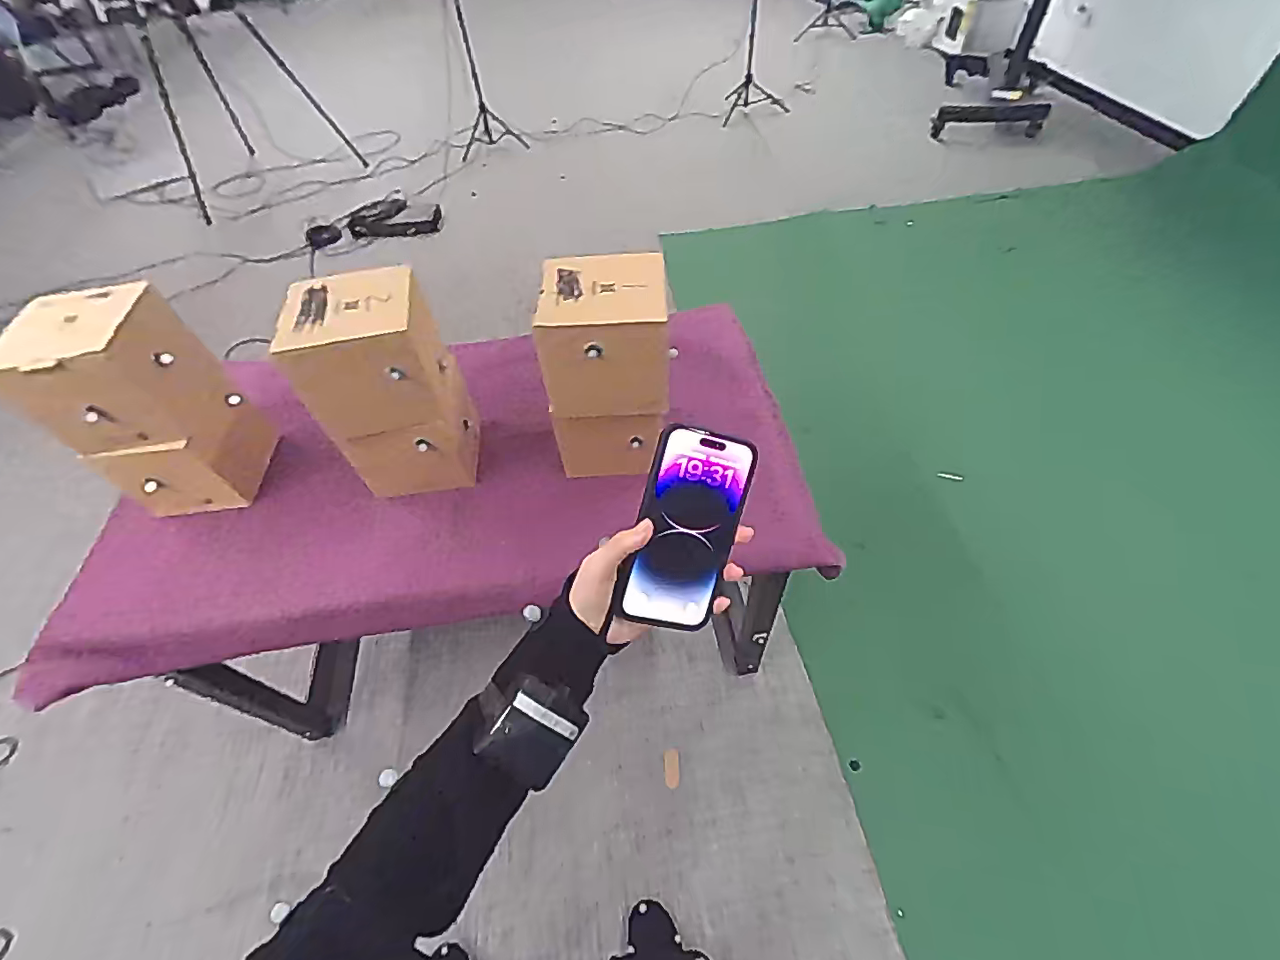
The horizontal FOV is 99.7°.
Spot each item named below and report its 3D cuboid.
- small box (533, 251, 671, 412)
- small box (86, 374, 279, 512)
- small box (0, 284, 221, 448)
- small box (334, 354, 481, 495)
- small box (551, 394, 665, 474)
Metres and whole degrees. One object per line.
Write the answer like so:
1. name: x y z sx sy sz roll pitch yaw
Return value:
1. small box: -0.046 -0.214 0.799 0.179 0.176 0.168 -3 52 2
2. small box: -0.775 -0.057 0.944 0.168 0.176 0.179 -7 52 -1
3. small box: -0.786 -0.164 0.819 0.168 0.176 0.179 -11 53 -5
4. small box: -0.385 -0.092 0.937 0.179 0.176 0.168 -8 52 -1
5. small box: -0.046 -0.124 0.937 0.179 0.176 0.168 -3 52 3
